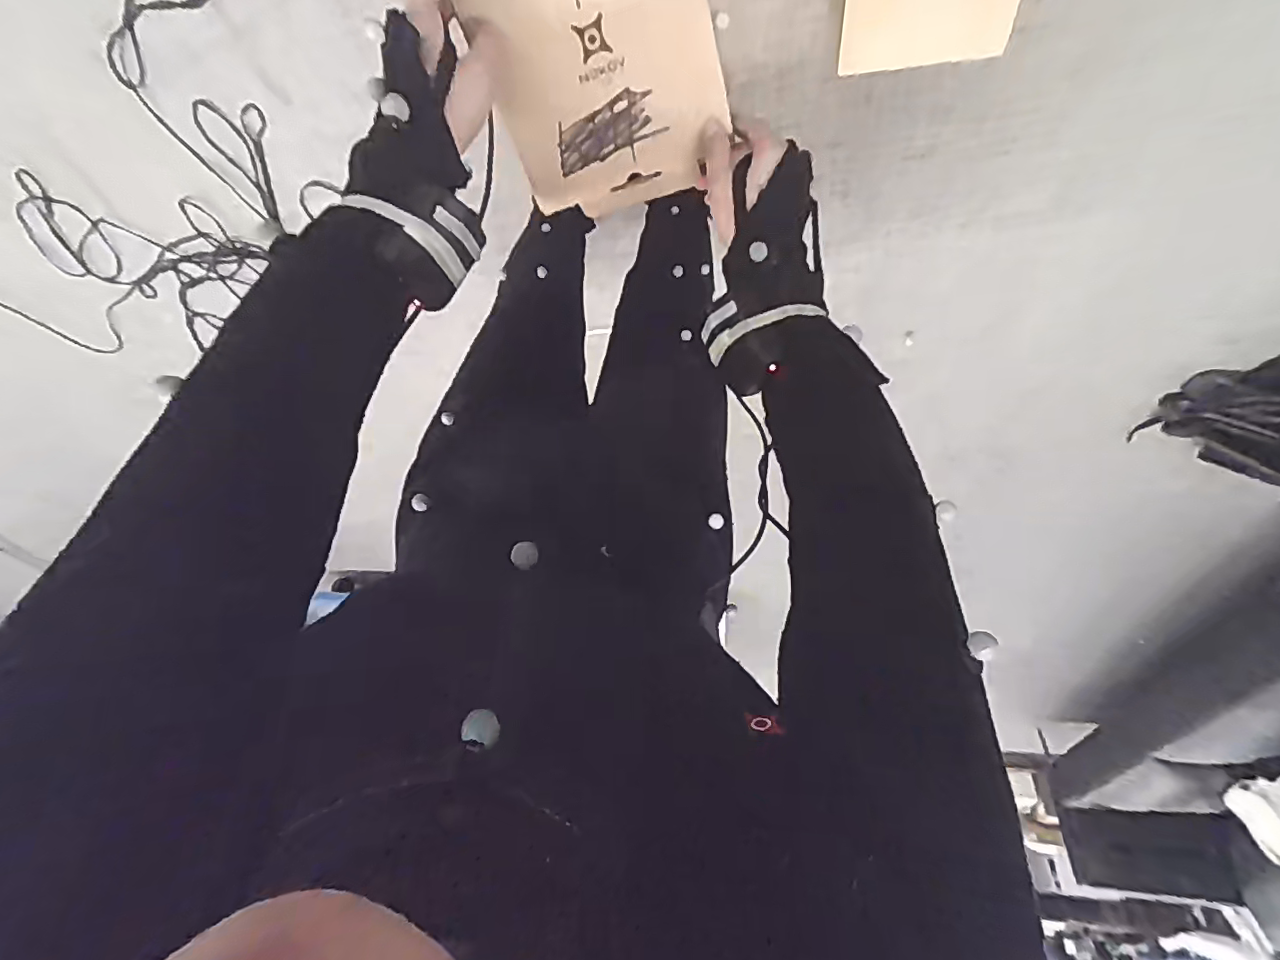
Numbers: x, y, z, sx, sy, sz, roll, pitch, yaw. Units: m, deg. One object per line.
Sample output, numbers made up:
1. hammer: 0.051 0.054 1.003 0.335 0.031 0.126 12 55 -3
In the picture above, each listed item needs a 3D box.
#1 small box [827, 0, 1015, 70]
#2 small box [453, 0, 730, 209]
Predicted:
1. small box: 0.289 -0.559 0.552 0.168 0.176 0.179 0 141 11
2. small box: -0.024 -0.354 0.432 0.168 0.176 0.179 -10 132 16
